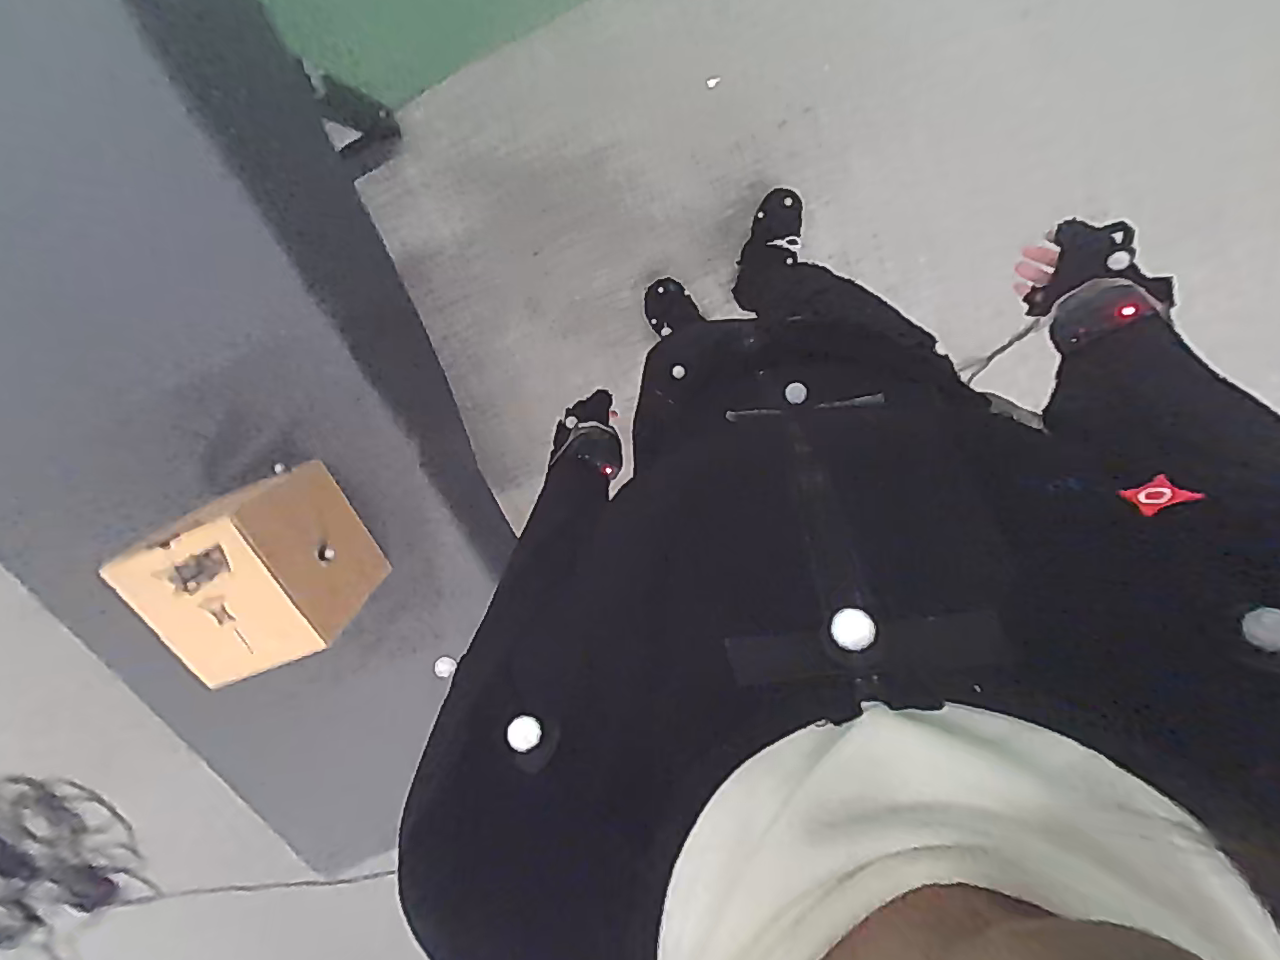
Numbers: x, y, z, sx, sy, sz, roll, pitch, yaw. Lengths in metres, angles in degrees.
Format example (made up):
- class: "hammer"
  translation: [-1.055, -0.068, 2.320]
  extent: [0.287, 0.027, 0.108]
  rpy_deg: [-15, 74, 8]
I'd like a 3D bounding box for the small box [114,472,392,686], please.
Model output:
- class: "small box"
  translation: [-0.442, 0.106, 0.653]
  extent: [0.168, 0.176, 0.179]
  rpy_deg: [-20, 112, 9]
